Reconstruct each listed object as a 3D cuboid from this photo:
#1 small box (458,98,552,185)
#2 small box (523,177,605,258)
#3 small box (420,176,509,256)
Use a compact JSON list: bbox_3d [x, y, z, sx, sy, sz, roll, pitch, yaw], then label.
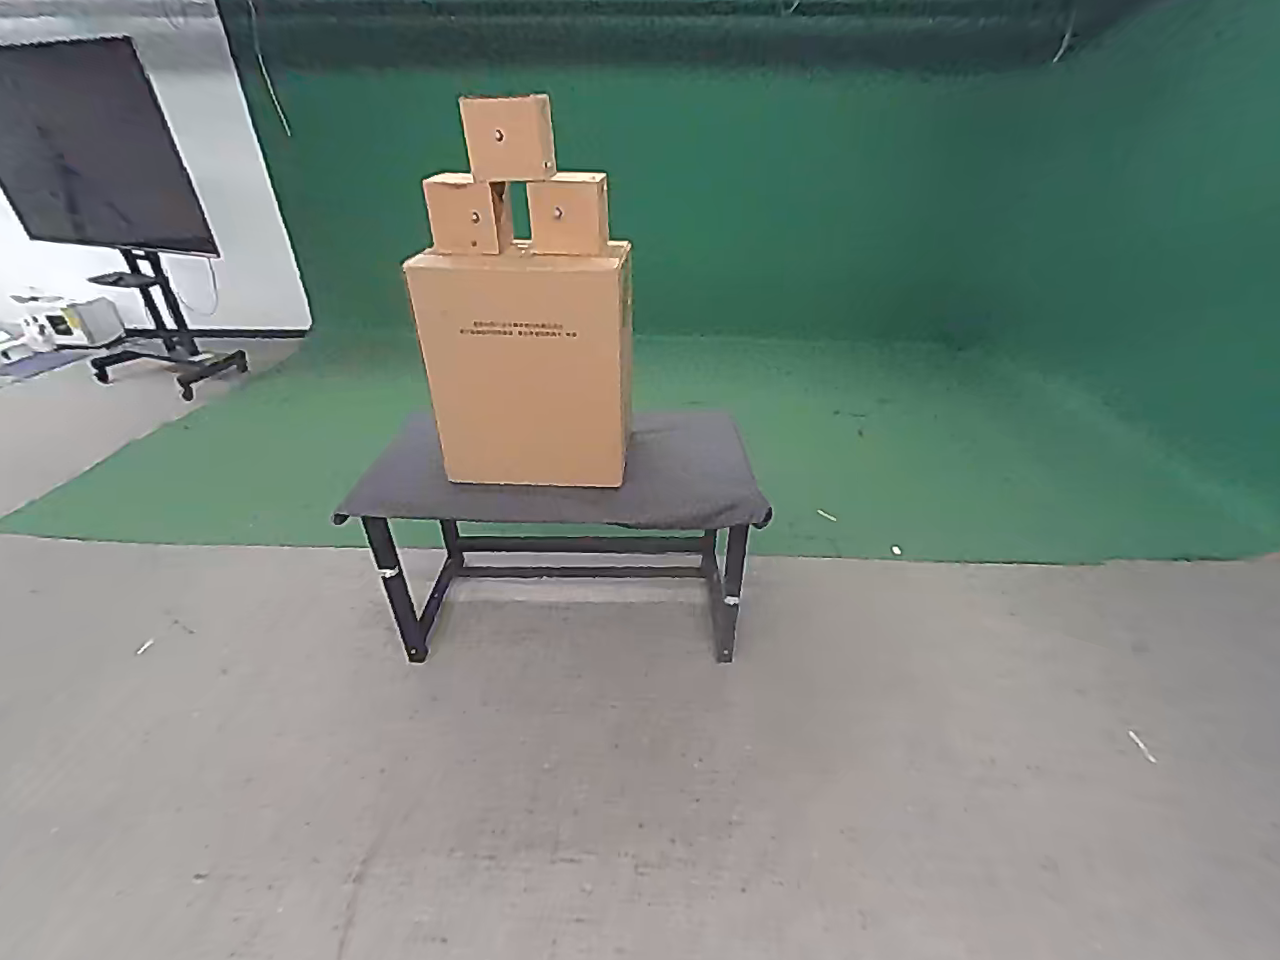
[{"bbox_3d":[-0.315,-0.819,1.307,0.179,0.176,0.168,0,34,2],"label":"small box"},{"bbox_3d":[-0.188,-0.678,1.396,0.179,0.176,0.168,2,35,3],"label":"small box"},{"bbox_3d":[-0.444,-0.685,1.402,0.168,0.176,0.179,3,32,0],"label":"small box"}]
